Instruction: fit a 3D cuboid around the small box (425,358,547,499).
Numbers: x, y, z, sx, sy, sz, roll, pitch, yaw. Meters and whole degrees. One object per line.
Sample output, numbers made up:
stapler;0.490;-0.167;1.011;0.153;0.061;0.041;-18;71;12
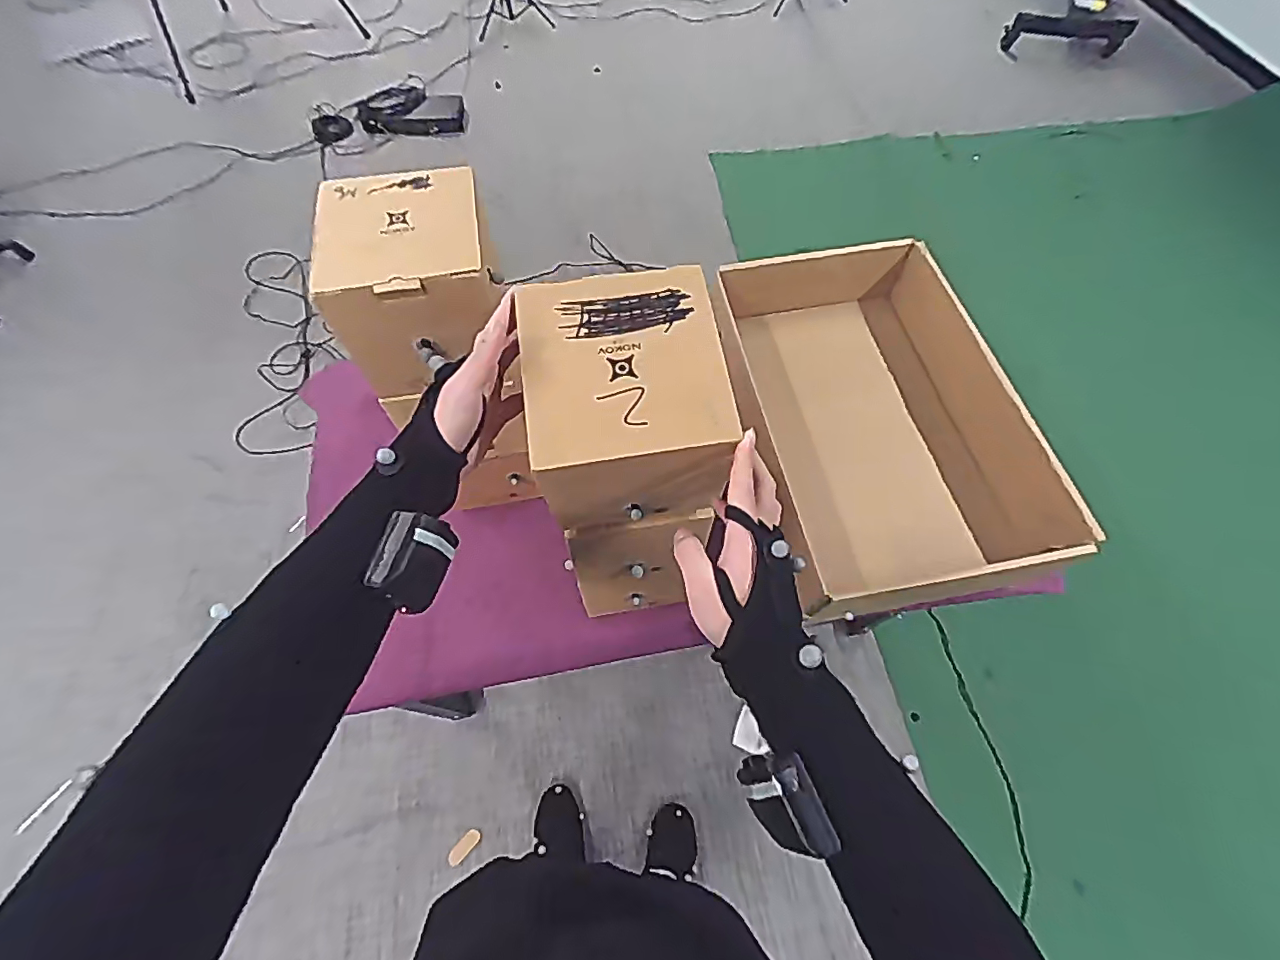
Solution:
small box;-0.255;-0.078;0.919;0.168;0.176;0.179;-9;63;-6

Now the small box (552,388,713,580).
small box;-0.014;0.010;0.687;0.168;0.176;0.179;-8;63;-4

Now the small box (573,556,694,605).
small box;-0.017;0.086;0.832;0.168;0.176;0.179;-8;63;-5

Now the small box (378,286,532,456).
small box;-0.254;-0.148;0.772;0.168;0.176;0.179;-9;63;-6

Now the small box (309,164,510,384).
small box;-0.252;-0.227;0.628;0.168;0.176;0.179;-9;64;-6
